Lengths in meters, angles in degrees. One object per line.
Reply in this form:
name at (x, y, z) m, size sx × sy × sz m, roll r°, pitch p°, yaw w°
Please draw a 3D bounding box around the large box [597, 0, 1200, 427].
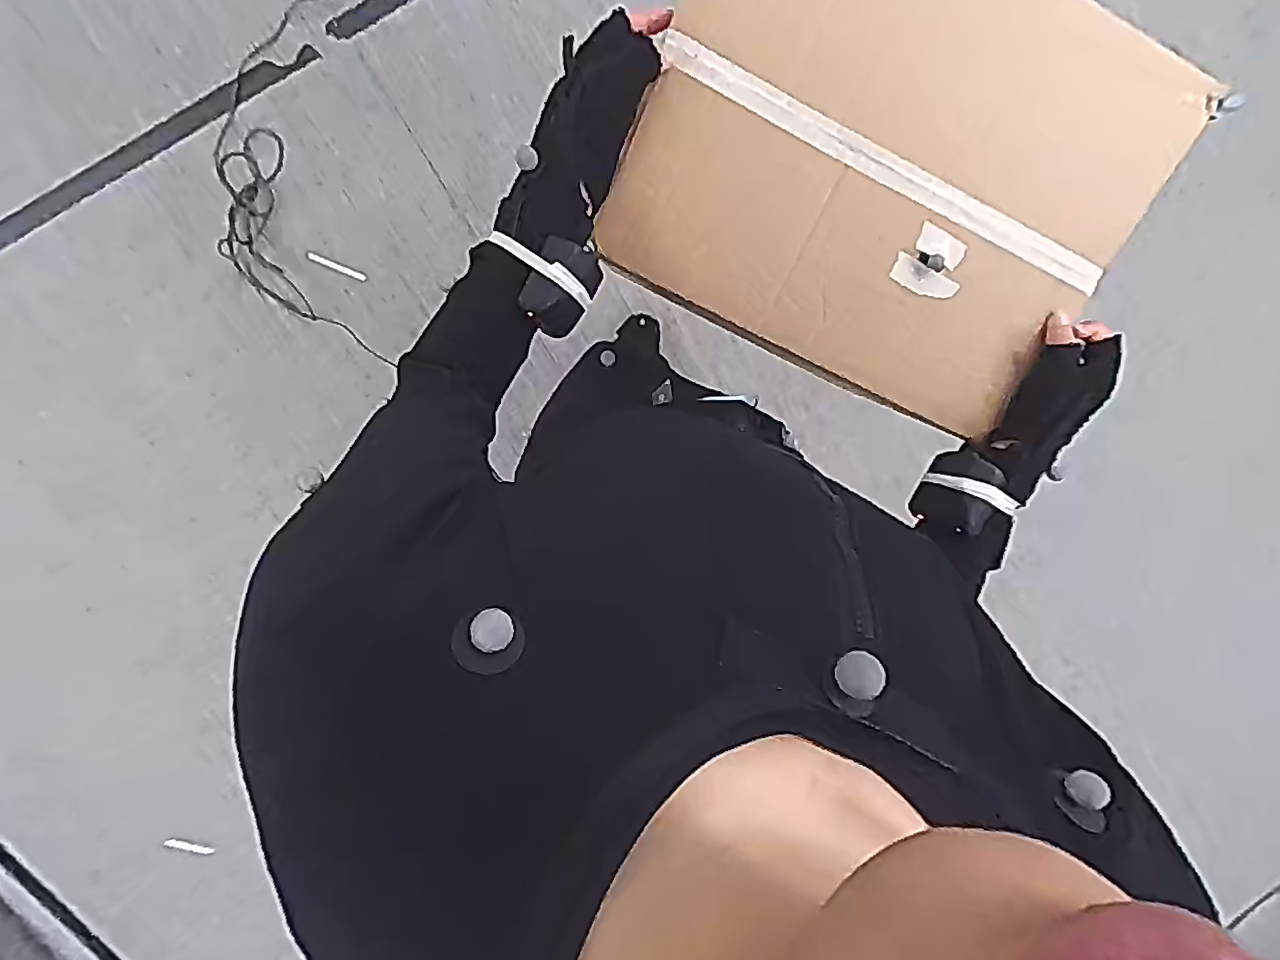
large box at (0.201, -0.304, 0.584) m, size 0.408 × 0.320 × 0.320 m, roll 24°, pitch 108°, yaw -8°
